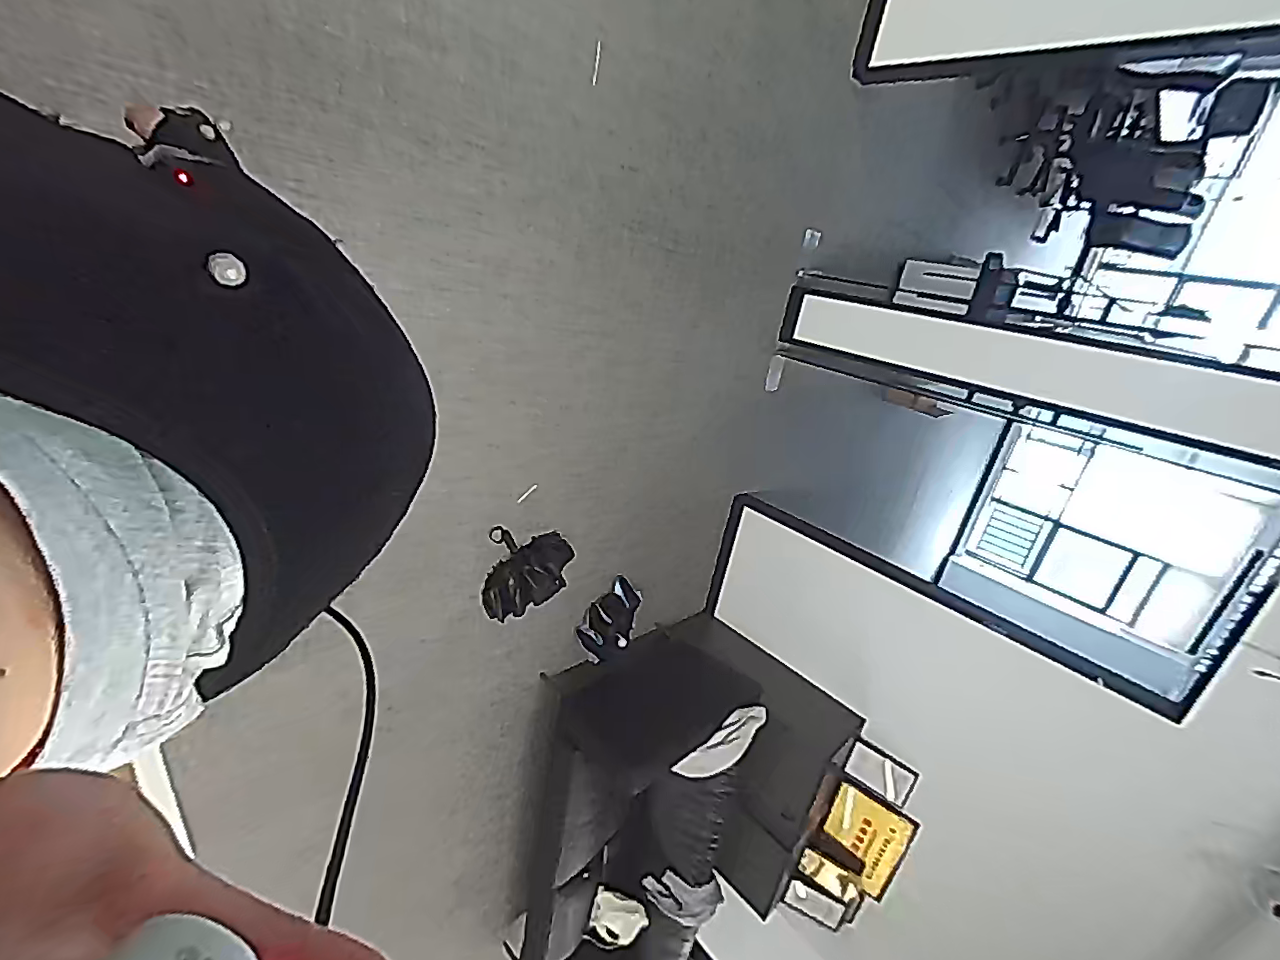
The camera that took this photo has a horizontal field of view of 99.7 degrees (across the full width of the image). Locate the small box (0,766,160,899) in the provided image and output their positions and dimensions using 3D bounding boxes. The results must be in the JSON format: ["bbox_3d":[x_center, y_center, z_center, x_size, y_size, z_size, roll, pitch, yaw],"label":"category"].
[{"bbox_3d":[-0.868,0.591,0.832,0.168,0.176,0.179,-15,124,-42],"label":"small box"}]
